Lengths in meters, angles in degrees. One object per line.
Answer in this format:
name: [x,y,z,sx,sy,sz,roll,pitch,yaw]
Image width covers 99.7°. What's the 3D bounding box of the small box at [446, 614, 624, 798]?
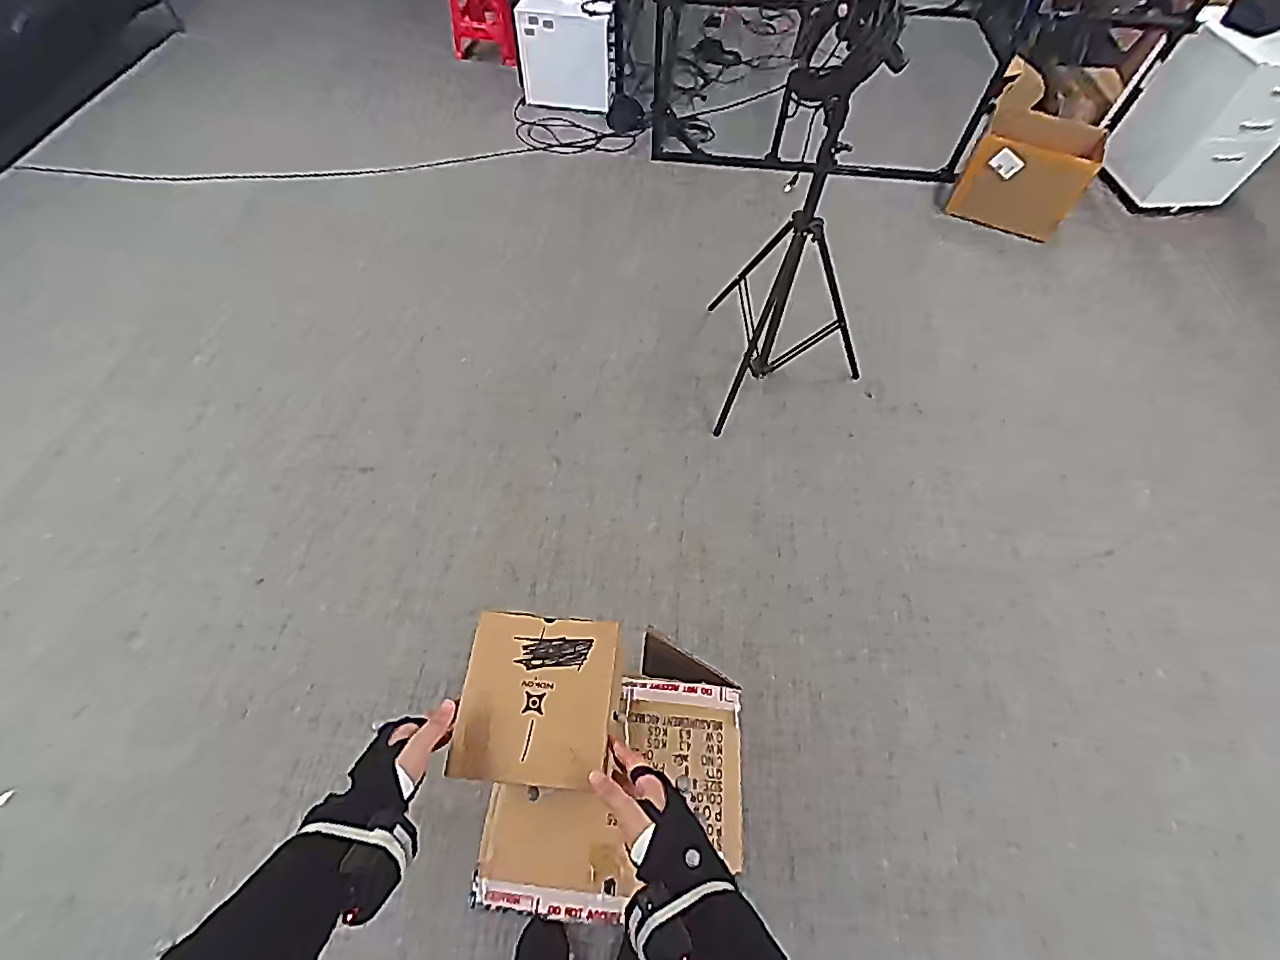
small box: [-0.110,0.279,0.659,0.168,0.176,0.179,4,61,3]
